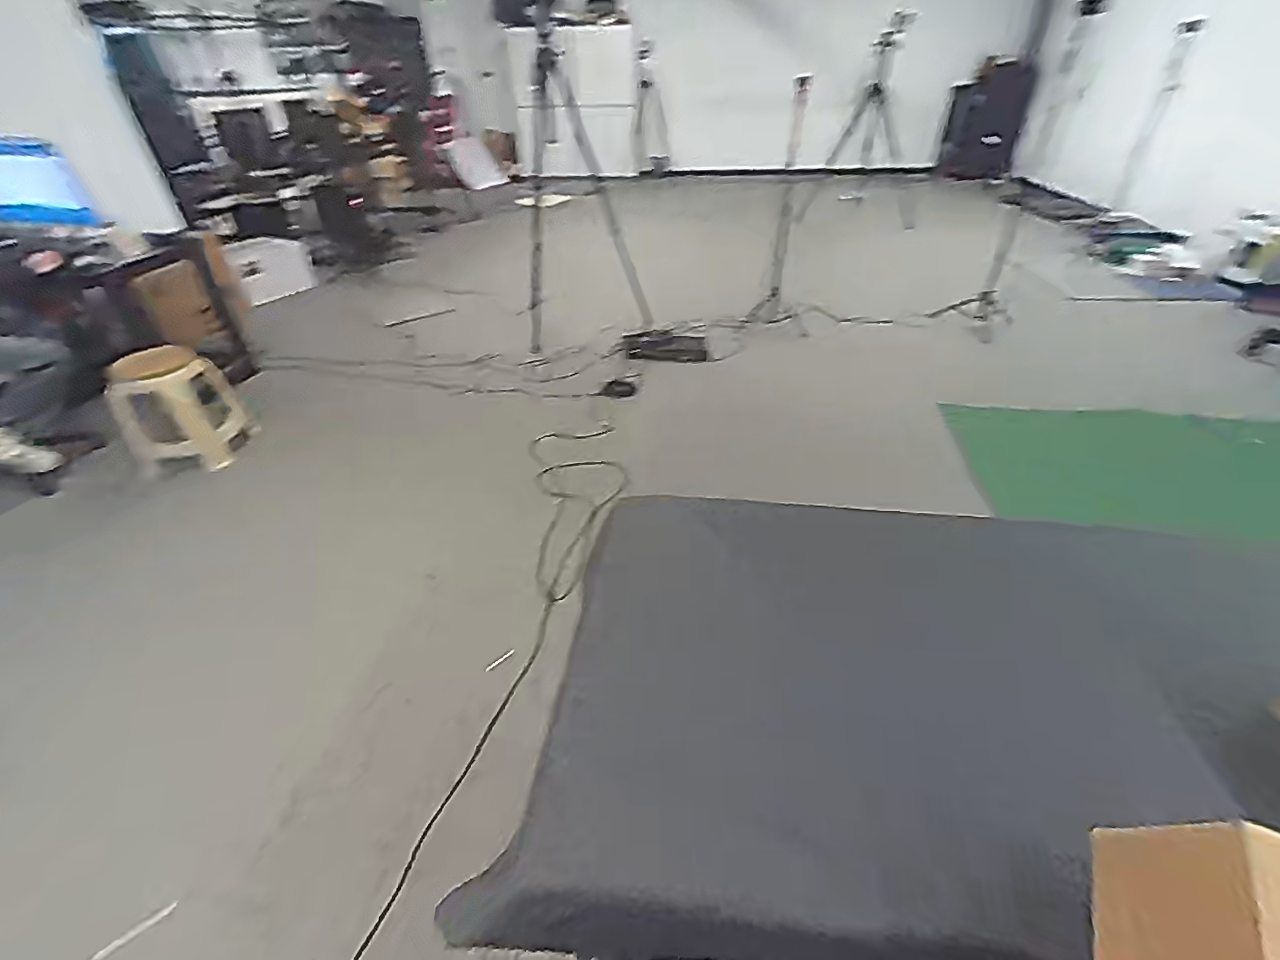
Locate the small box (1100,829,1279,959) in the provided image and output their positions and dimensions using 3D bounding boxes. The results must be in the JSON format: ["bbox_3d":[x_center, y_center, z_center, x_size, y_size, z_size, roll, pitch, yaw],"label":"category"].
[{"bbox_3d":[0.461,0.372,0.372,0.168,0.176,0.179,18,59,14],"label":"small box"}]
